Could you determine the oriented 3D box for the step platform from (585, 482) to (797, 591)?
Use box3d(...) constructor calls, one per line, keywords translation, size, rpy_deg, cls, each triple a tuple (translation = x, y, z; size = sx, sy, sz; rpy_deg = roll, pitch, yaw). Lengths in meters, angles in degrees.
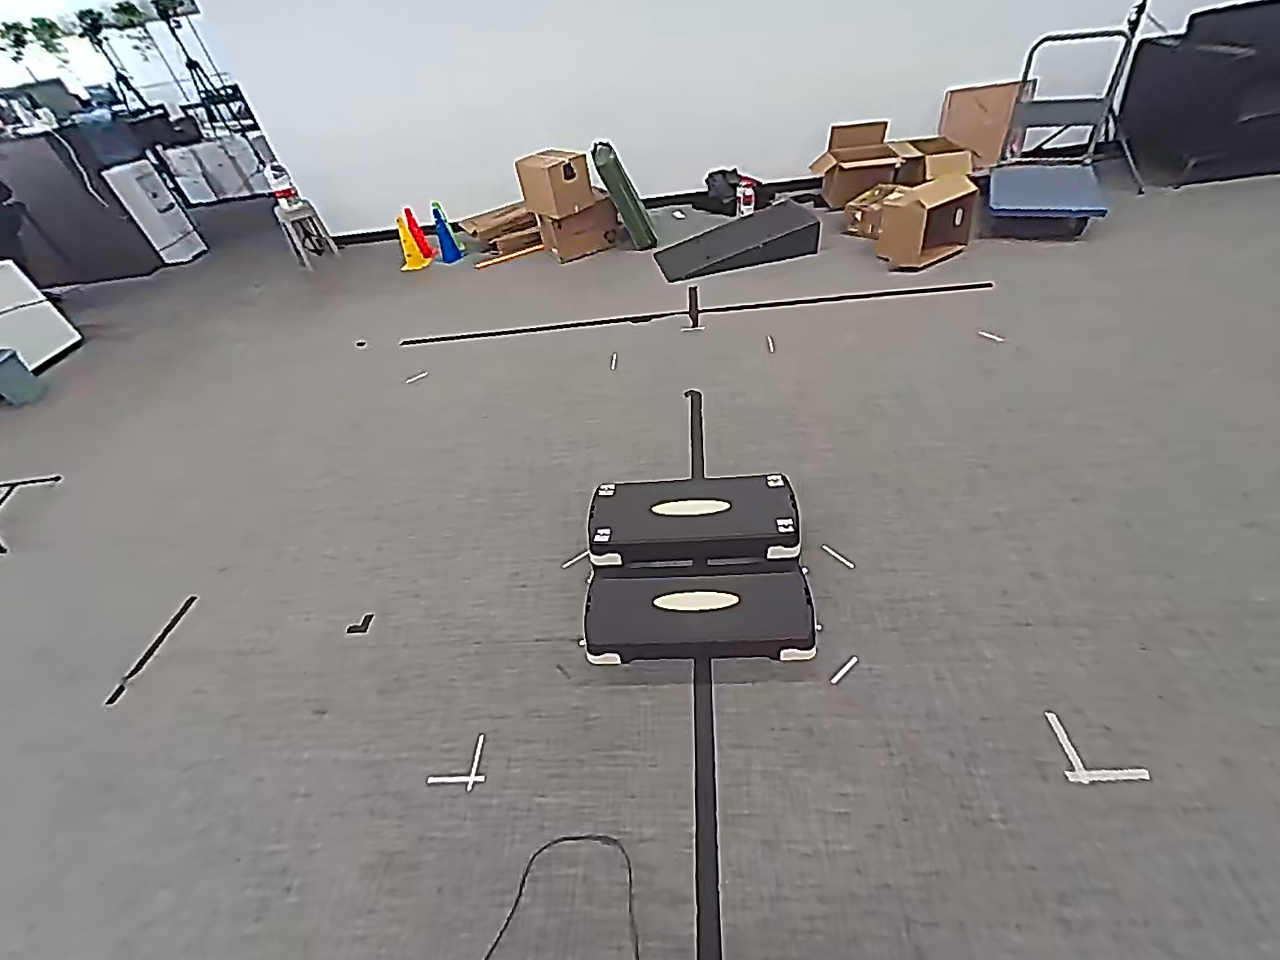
box3d(translation=(0.161, 0.181, 1.779), size=(0.684, 0.204, 0.286), rpy_deg=(-3, 44, 6), cls="step platform")
